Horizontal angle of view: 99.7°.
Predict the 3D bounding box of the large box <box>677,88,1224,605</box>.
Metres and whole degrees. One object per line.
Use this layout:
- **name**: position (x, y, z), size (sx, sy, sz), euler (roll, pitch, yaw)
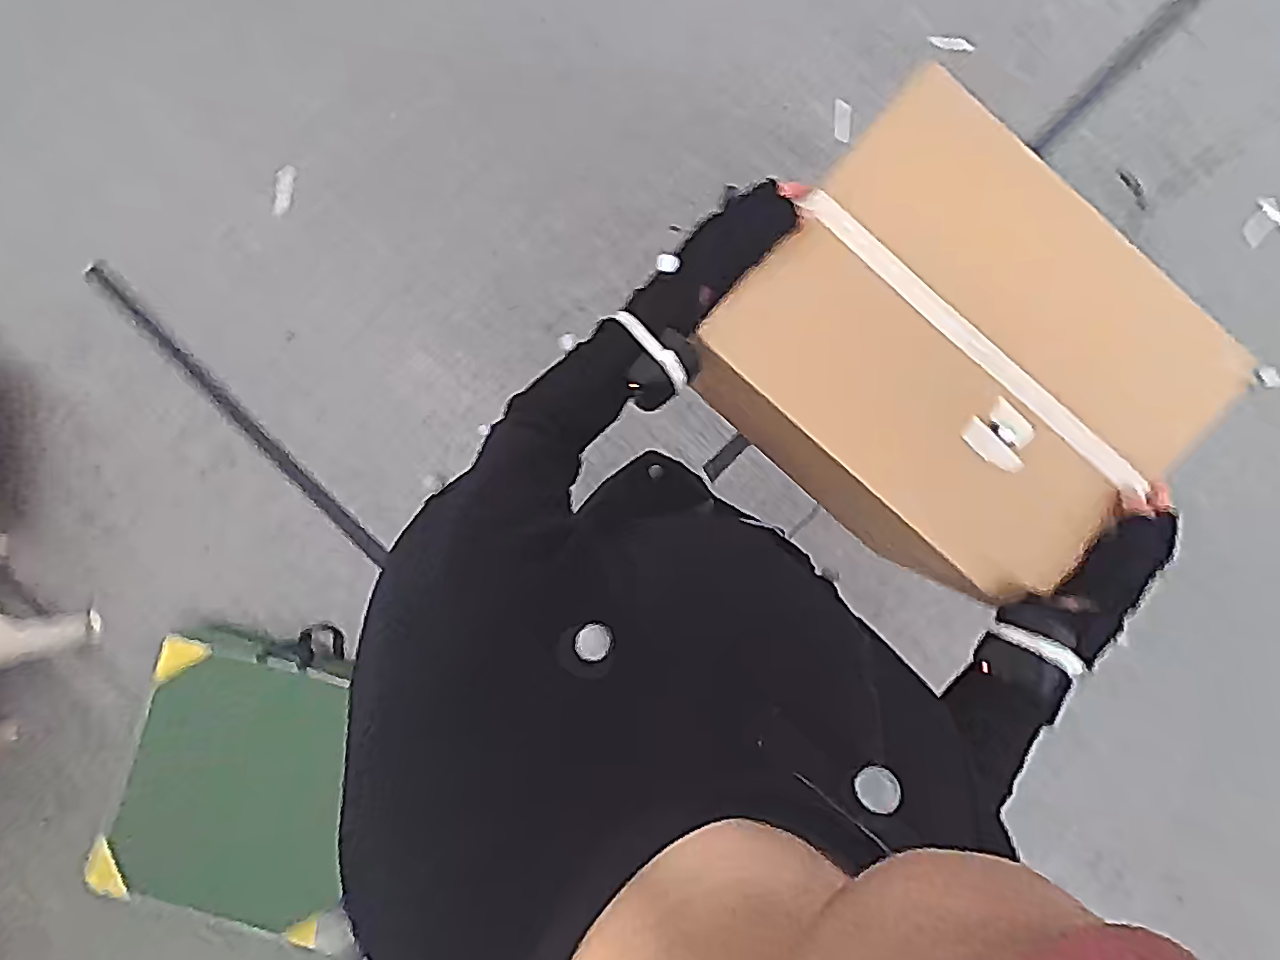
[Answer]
- **large box**: position (0.300, -0.128, 0.653), size (0.408, 0.320, 0.320), euler (41, 94, -3)
